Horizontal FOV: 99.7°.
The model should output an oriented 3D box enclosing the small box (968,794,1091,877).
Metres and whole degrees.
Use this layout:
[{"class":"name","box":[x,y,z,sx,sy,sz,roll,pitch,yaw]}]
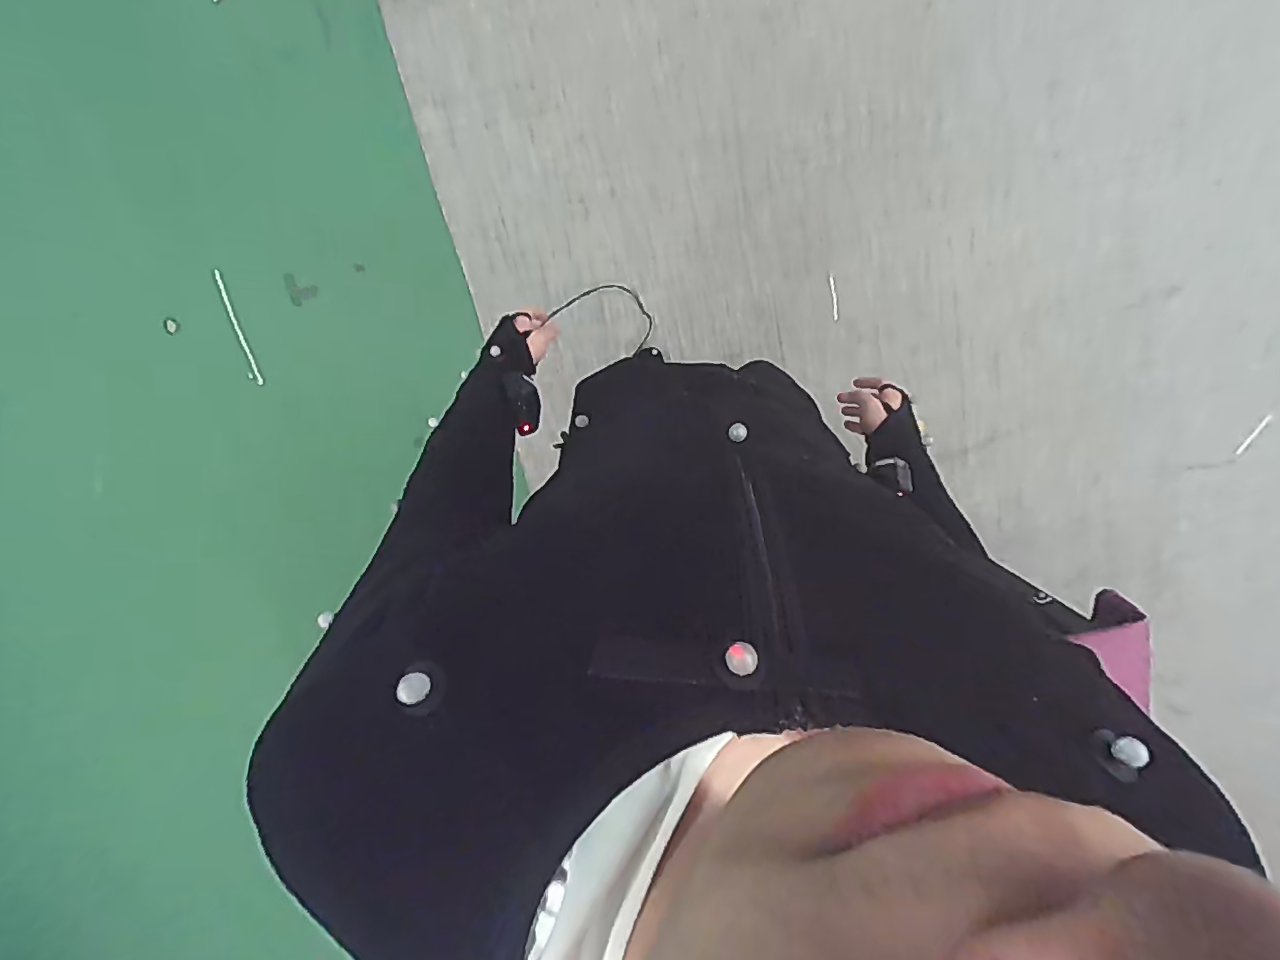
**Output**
[{"class":"small box","box":[0.711,0.732,1.027,0.168,0.176,0.179,-14,105,3]}]
